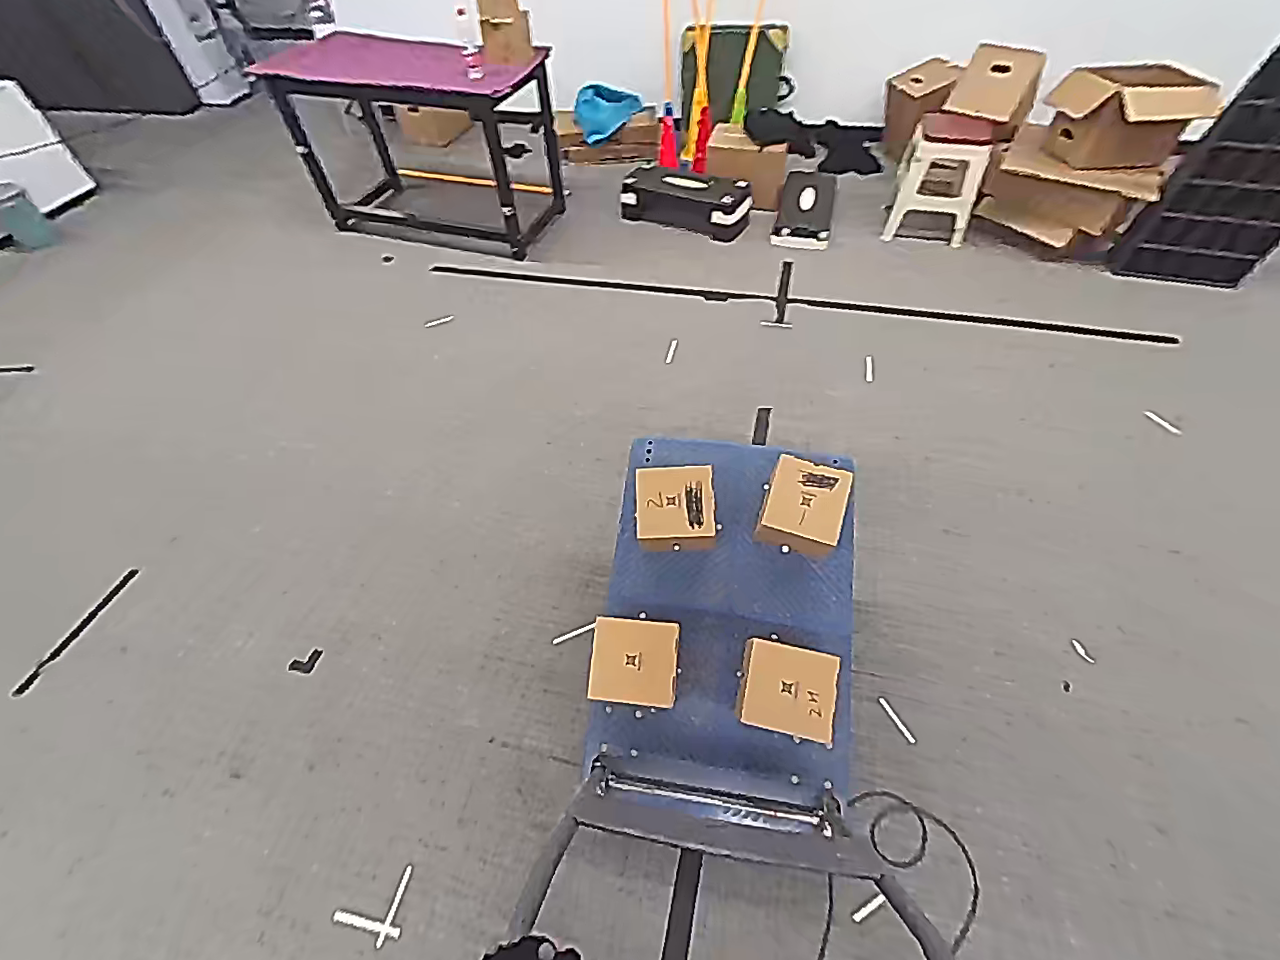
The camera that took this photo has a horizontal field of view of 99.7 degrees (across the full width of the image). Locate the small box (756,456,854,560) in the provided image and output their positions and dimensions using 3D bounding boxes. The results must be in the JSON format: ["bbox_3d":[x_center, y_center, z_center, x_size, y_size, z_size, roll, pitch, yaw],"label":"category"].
[{"bbox_3d":[0.377,0.071,1.261,0.168,0.176,0.179,17,75,10],"label":"small box"}]

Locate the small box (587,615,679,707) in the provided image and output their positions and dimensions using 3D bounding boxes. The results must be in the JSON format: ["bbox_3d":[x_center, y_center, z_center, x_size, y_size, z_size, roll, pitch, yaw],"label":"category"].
[{"bbox_3d":[-0.008,0.395,1.183,0.179,0.176,0.168,4,71,5],"label":"small box"}]

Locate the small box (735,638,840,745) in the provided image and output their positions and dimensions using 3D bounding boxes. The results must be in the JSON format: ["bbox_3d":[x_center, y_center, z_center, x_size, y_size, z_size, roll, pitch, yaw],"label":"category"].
[{"bbox_3d":[0.302,0.441,1.140,0.179,0.176,0.168,12,73,9],"label":"small box"}]
